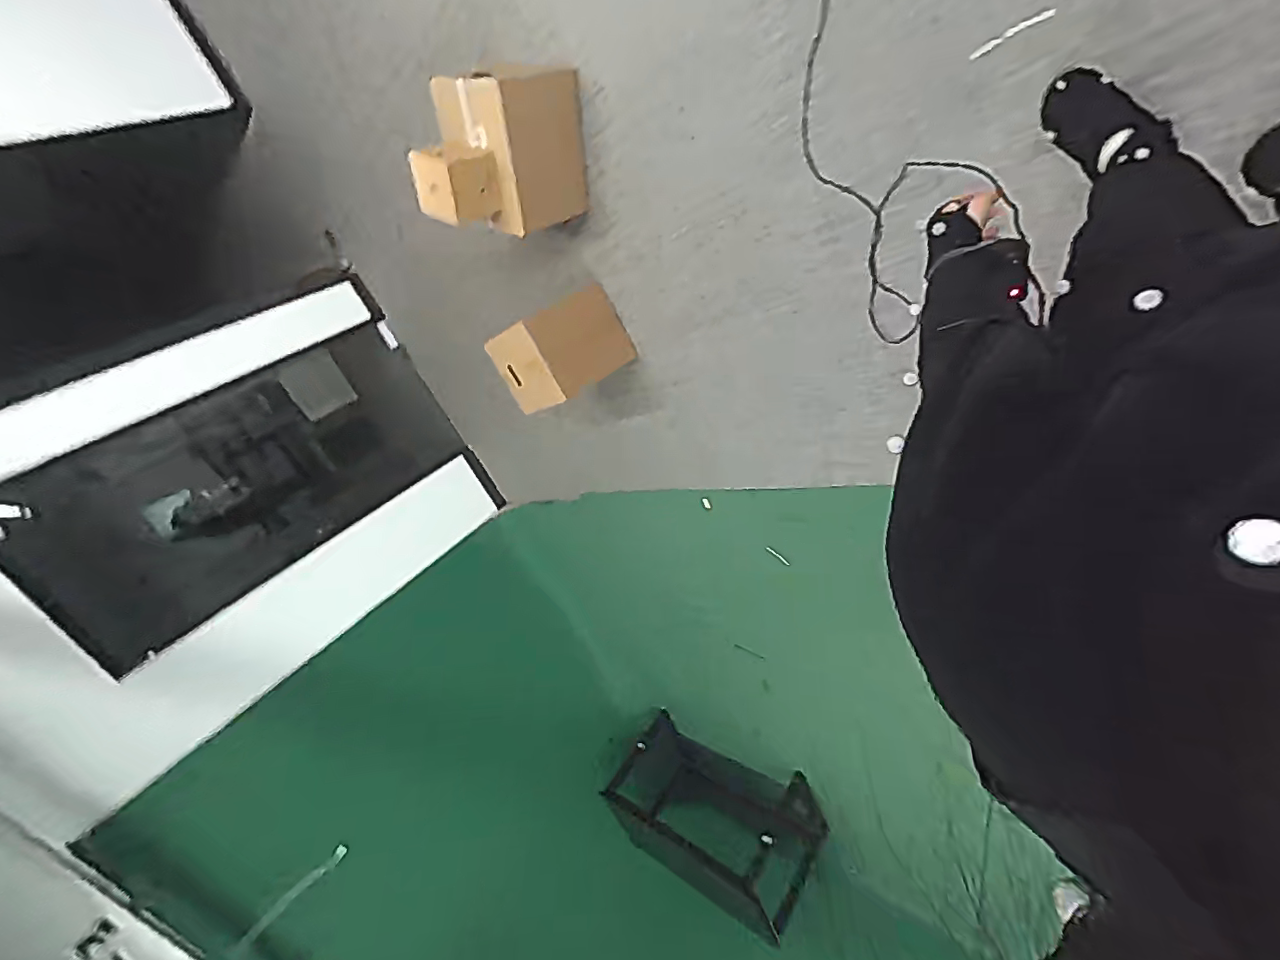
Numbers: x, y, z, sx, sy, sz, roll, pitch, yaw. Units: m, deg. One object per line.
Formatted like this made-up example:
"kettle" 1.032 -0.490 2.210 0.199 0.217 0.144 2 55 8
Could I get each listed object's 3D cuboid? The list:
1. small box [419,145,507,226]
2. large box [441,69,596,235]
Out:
"small box" -0.526 -0.891 1.627 0.179 0.176 0.168 30 141 26
"large box" -0.369 -1.051 1.730 0.320 0.320 0.408 26 138 29
